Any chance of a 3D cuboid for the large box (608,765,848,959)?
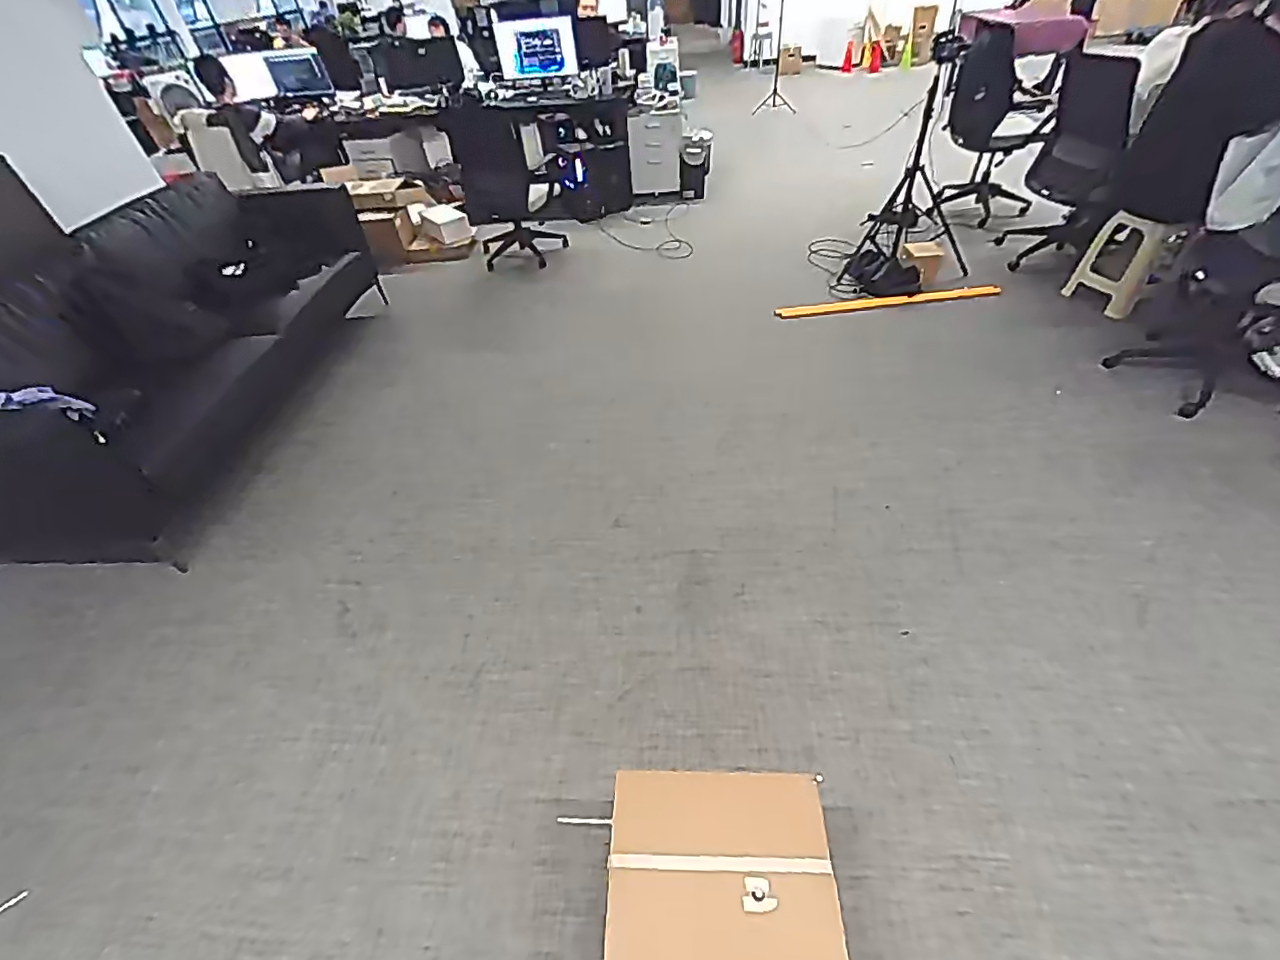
[{"bbox_3d":[0.156,0.800,1.097,0.408,0.320,0.320,-1,44,5],"label":"large box"}]
